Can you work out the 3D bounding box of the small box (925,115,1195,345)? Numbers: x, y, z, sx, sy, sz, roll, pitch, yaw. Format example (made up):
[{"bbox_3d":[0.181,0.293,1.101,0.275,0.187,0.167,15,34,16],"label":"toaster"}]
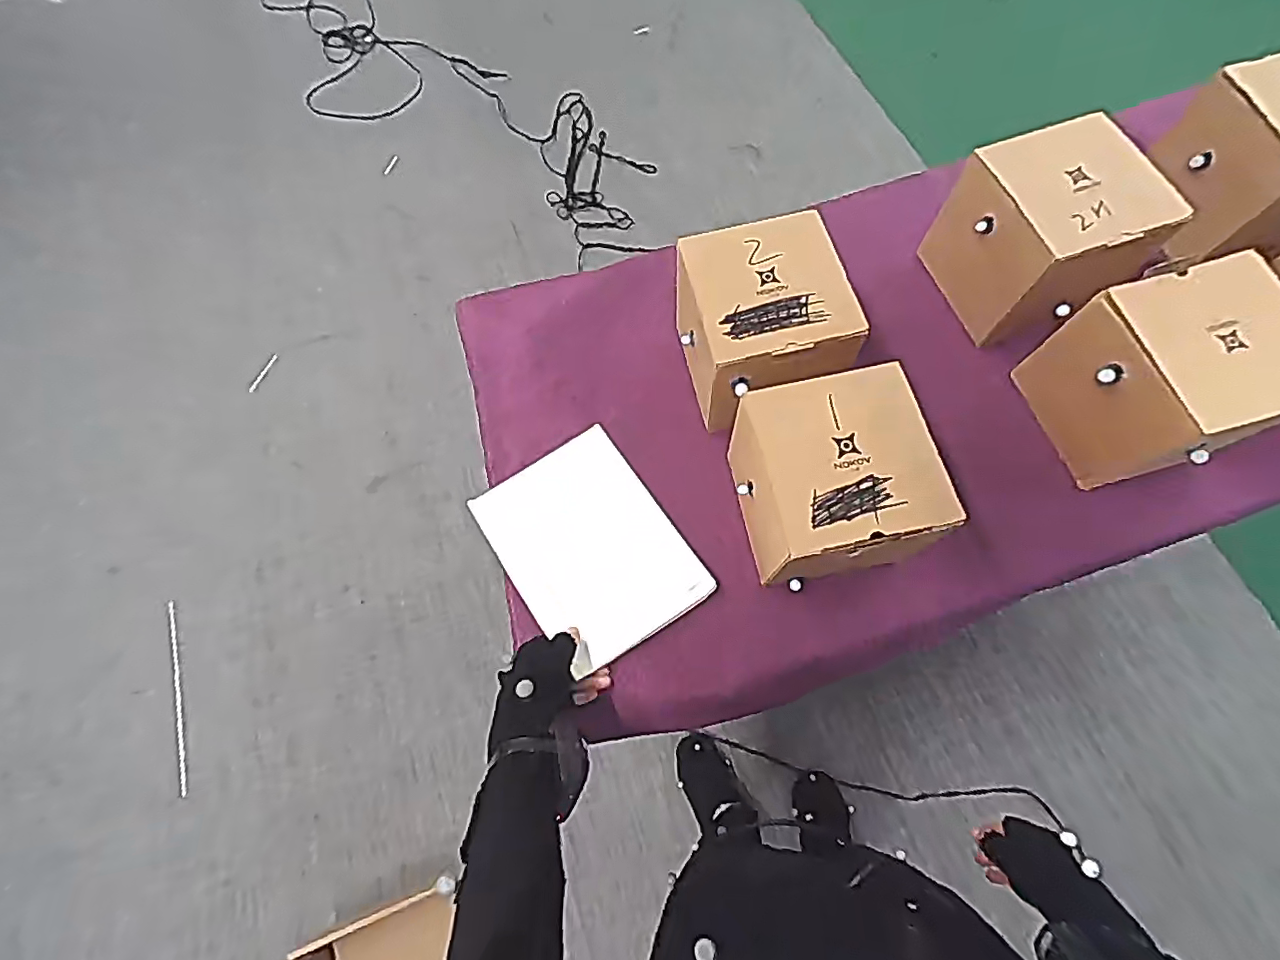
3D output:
[{"bbox_3d":[0.498,-0.303,0.677,0.168,0.176,0.179,-17,70,-2],"label":"small box"}]

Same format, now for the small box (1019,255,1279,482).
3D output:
[{"bbox_3d":[0.583,-0.109,0.606,0.168,0.176,0.179,-15,71,-1],"label":"small box"}]

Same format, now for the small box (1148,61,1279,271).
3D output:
[{"bbox_3d":[0.796,-0.398,0.693,0.168,0.176,0.179,-13,70,-1],"label":"small box"}]
